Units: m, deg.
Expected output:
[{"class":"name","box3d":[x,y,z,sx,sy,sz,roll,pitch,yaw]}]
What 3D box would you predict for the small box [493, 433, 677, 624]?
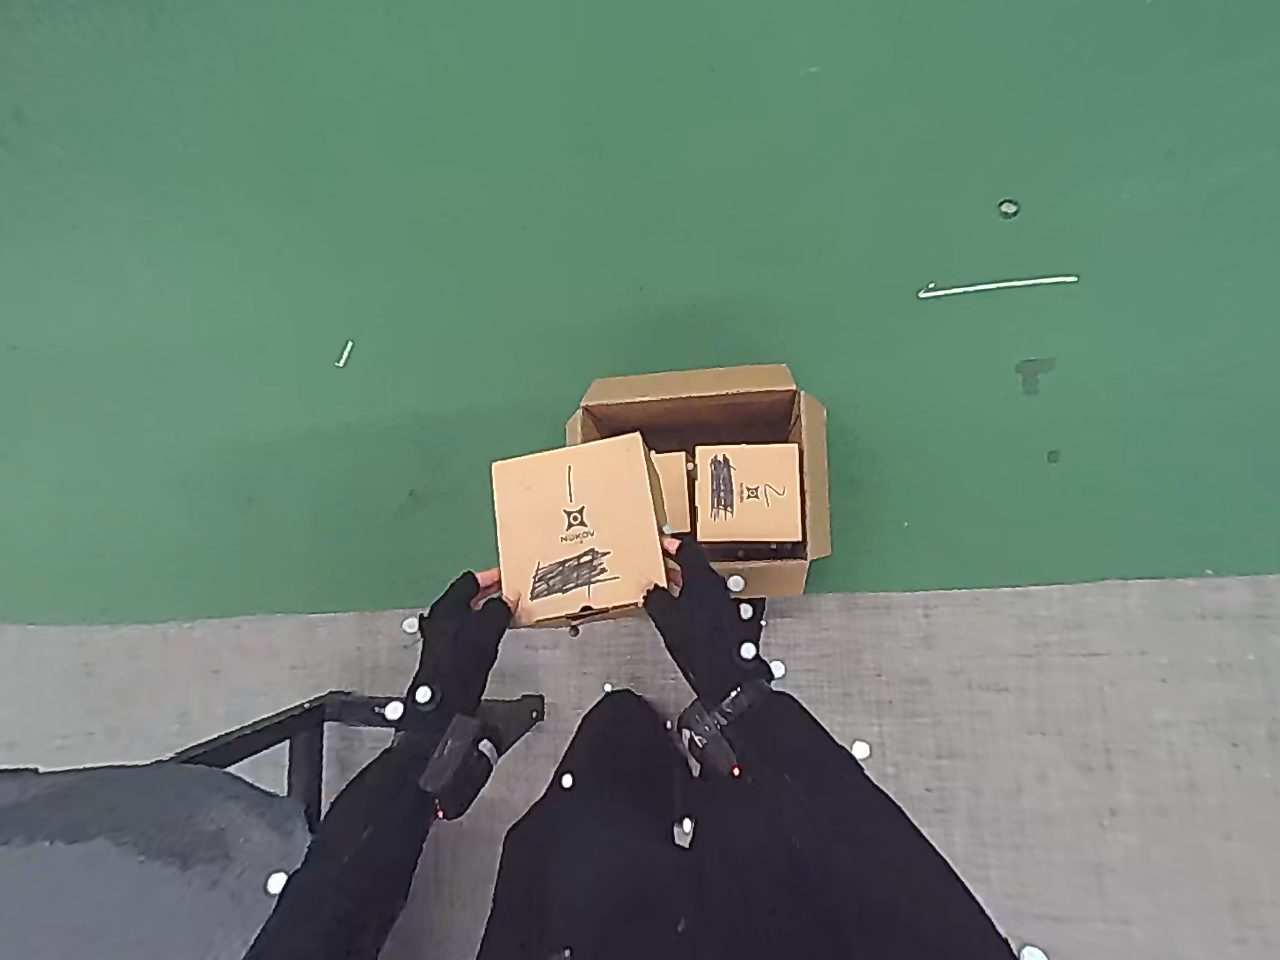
[{"class":"small box","box3d":[-0.055,0.067,0.628,0.168,0.176,0.179,-11,72,5]}]
